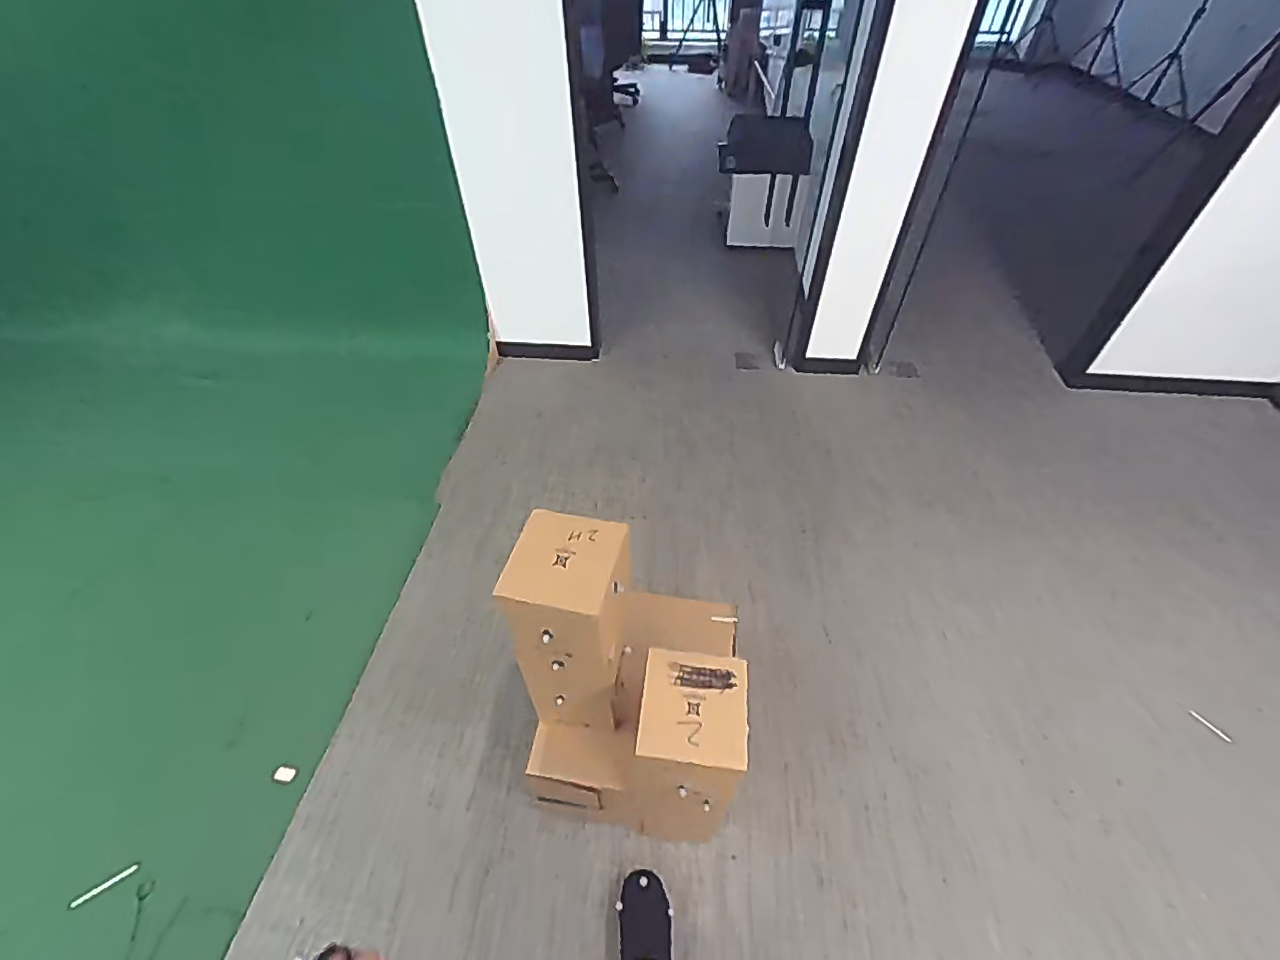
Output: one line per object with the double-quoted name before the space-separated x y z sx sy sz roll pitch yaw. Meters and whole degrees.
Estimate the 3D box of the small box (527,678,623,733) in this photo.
"small box" -0.125 0.402 1.135 0.168 0.176 0.179 6 45 6

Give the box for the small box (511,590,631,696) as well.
"small box" -0.118 0.288 1.012 0.179 0.176 0.168 3 46 7

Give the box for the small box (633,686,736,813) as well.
"small box" 0.082 0.514 1.025 0.179 0.176 0.168 5 46 5

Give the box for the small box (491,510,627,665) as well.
"small box" -0.119 0.179 0.891 0.168 0.176 0.179 10 47 10
